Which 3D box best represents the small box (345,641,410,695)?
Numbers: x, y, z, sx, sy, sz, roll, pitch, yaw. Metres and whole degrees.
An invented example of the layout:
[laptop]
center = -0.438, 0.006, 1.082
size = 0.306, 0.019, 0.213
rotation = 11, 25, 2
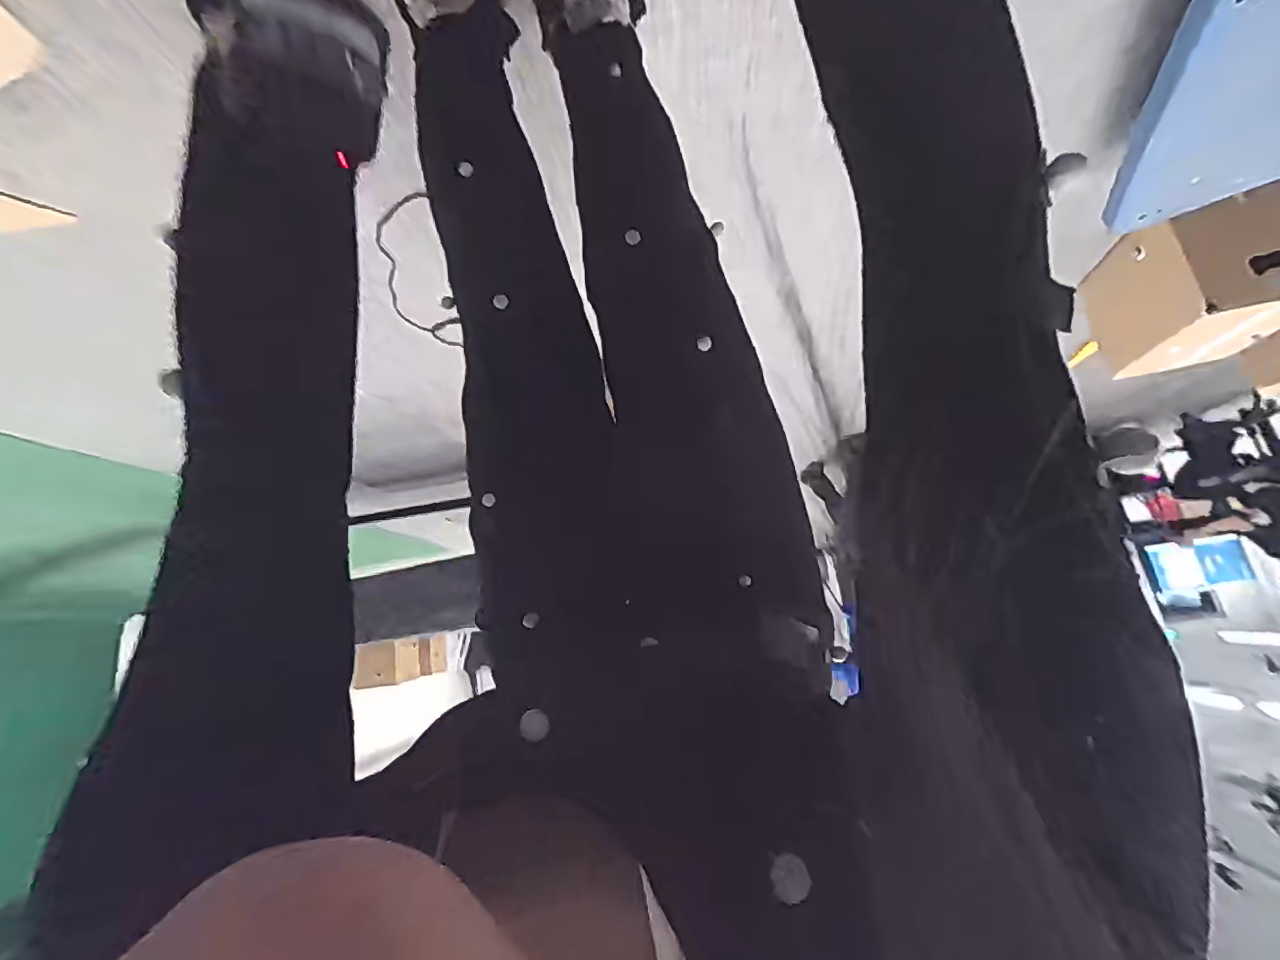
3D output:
[small box]
center = -1.027, 0.728, 2.109
size = 0.179, 0.176, 0.168
rotation = -10, 166, 5
